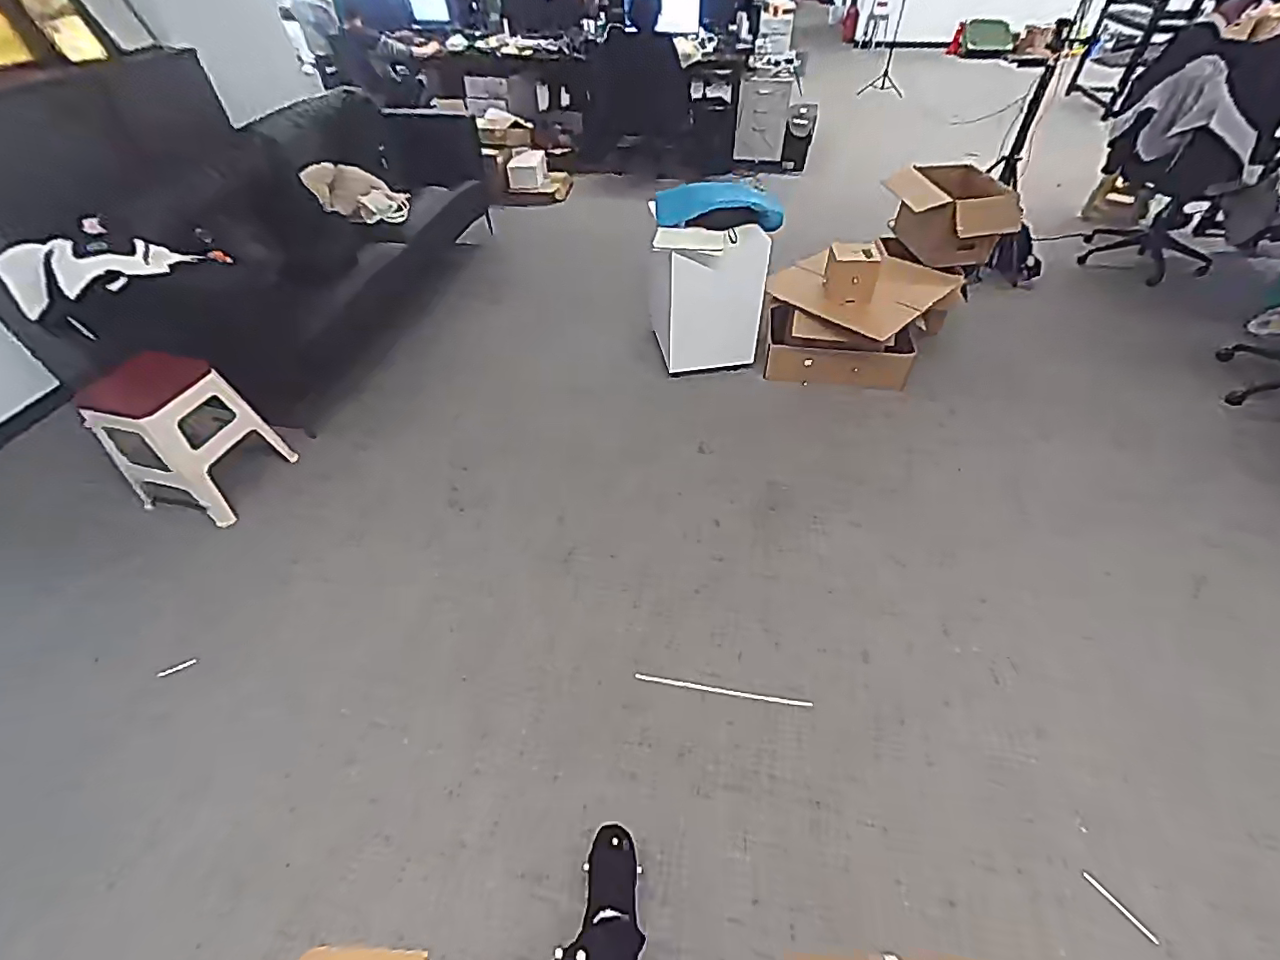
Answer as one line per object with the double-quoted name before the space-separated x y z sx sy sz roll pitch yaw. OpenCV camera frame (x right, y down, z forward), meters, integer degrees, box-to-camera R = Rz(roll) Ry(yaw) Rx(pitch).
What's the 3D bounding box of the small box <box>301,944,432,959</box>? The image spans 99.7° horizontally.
"small box" -0.358 0.688 0.618 0.168 0.179 0.176 -3 85 6
